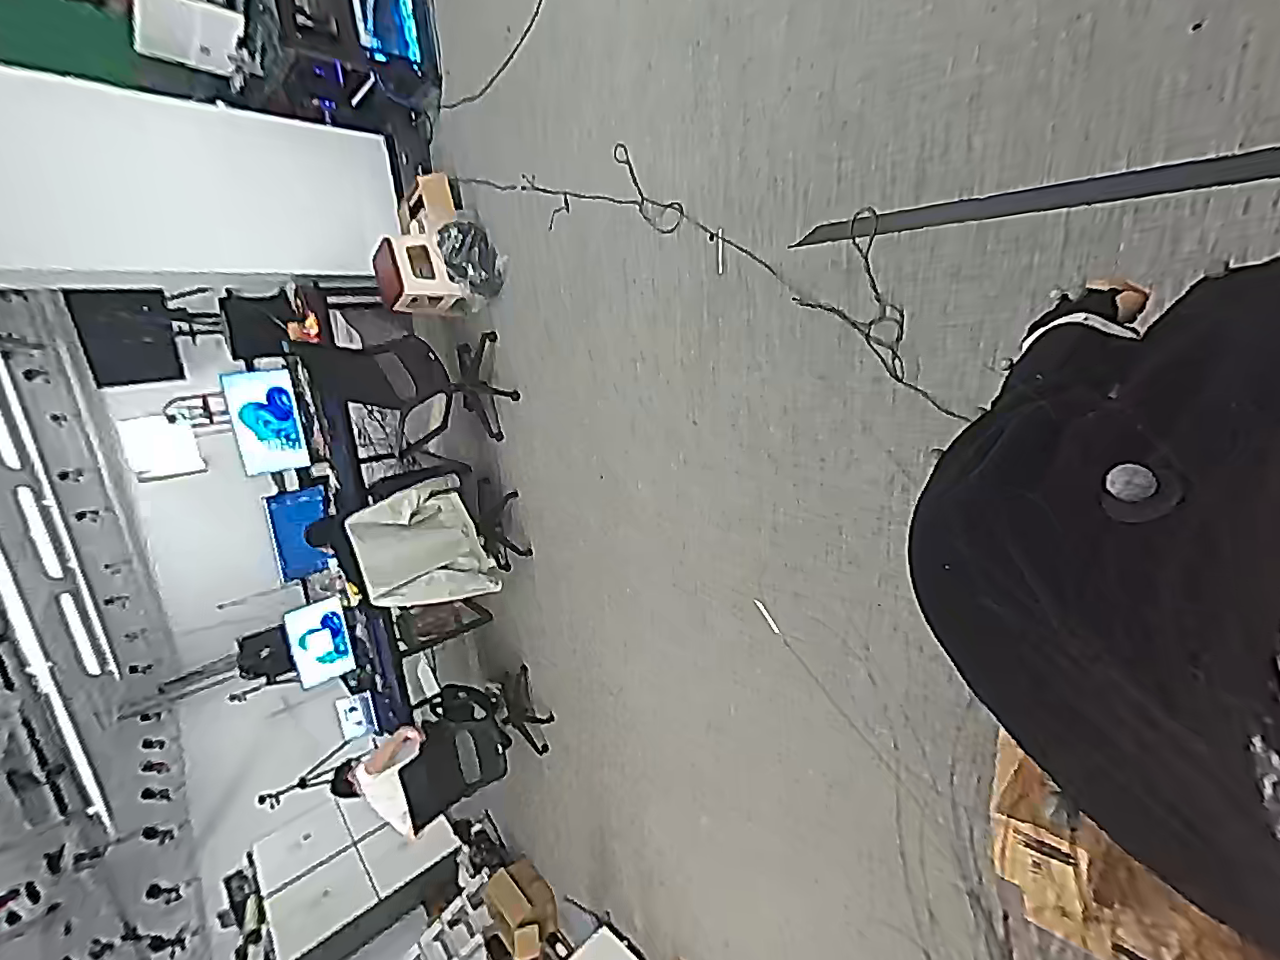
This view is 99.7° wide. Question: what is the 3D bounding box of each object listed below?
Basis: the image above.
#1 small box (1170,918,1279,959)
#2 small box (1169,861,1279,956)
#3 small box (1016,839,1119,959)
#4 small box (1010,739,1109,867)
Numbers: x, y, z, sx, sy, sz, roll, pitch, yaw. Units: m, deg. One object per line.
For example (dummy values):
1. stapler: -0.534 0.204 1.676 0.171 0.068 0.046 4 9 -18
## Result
1. small box: 1.139 0.991 1.027 0.179 0.176 0.168 17 116 43
2. small box: 1.258 0.951 1.134 0.179 0.176 0.168 16 115 44
3. small box: 1.081 1.035 1.369 0.179 0.176 0.168 6 109 47
4. small box: 1.033 0.781 1.331 0.168 0.176 0.179 7 108 48
